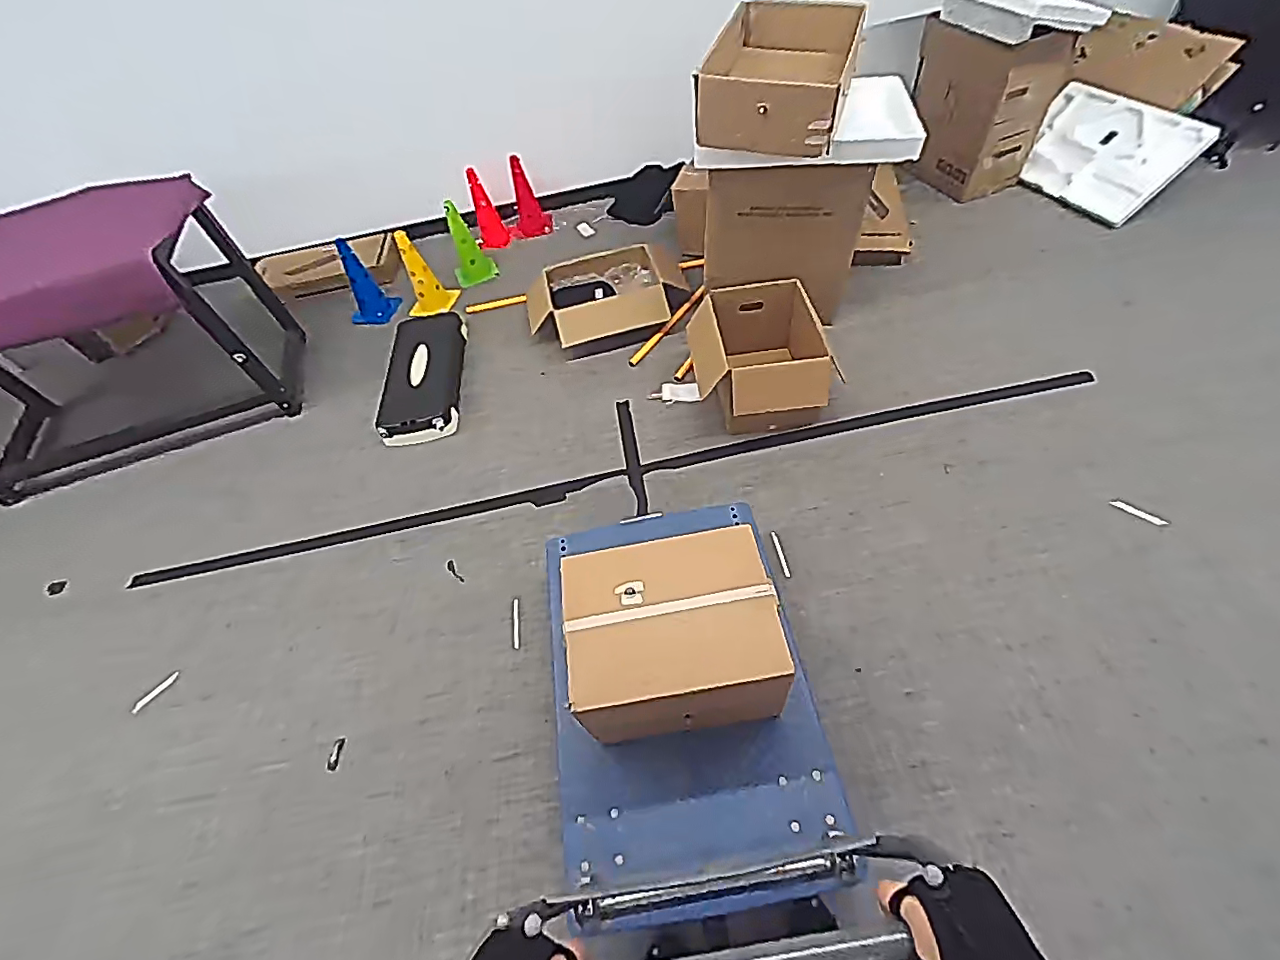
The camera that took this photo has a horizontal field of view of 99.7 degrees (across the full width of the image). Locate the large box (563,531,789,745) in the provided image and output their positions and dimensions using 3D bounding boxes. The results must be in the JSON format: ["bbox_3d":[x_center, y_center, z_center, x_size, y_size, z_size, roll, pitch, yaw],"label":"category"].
[{"bbox_3d":[0.073,0.352,1.175,0.408,0.320,0.320,-11,52,1],"label":"large box"}]
